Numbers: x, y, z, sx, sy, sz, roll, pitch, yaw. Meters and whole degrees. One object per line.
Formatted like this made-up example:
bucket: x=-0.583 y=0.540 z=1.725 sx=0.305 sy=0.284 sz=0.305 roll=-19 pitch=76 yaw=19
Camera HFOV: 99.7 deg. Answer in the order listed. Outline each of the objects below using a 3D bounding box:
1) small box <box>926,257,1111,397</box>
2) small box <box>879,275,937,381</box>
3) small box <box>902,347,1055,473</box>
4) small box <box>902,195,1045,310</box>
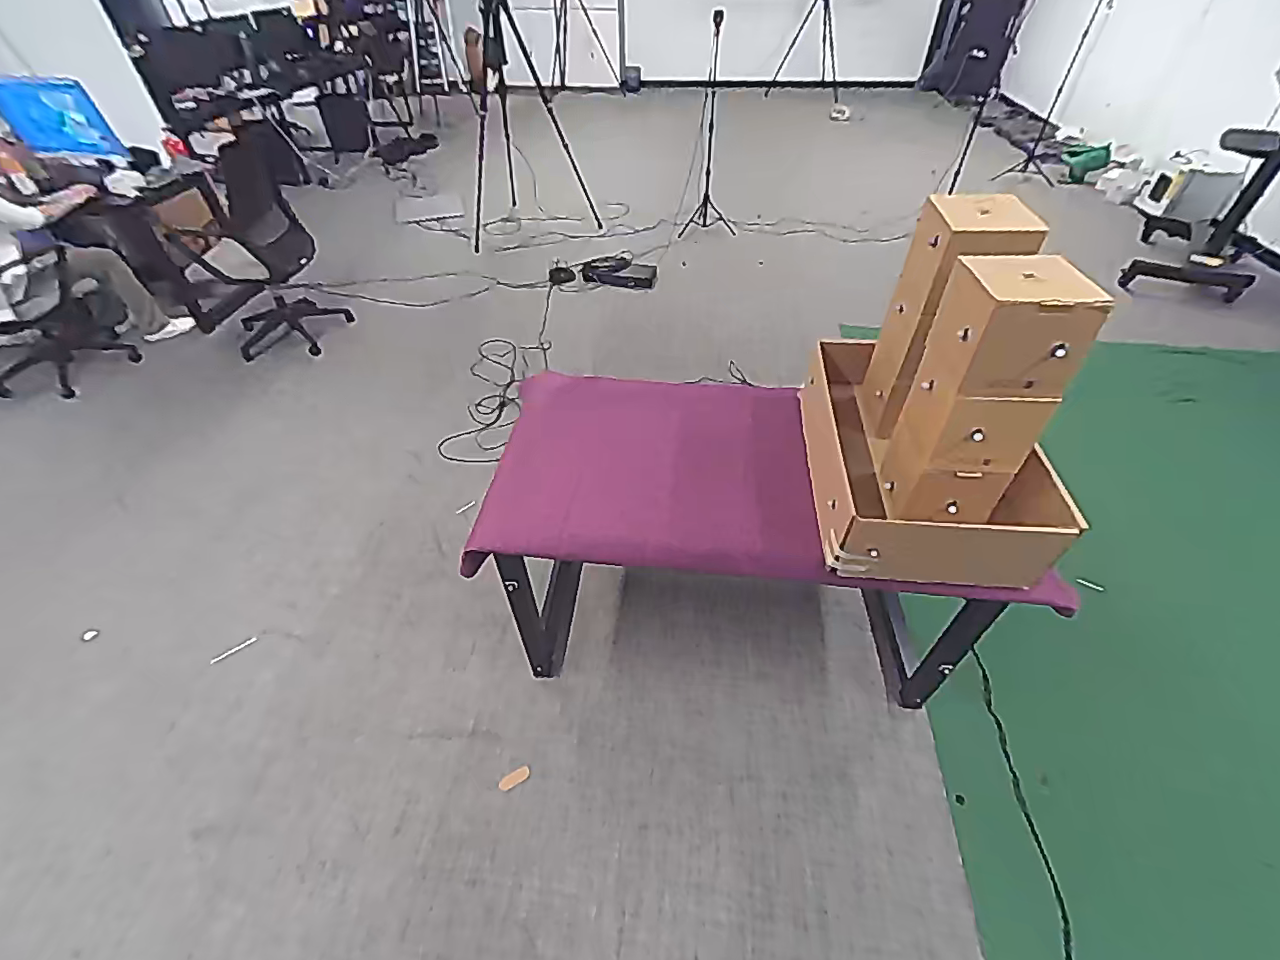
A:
small box: x=0.600 y=-0.250 z=0.887 sx=0.168 sy=0.176 sz=0.179 roll=3 pitch=43 yaw=5
small box: x=0.646 y=-0.332 z=1.191 sx=0.168 sy=0.176 sz=0.179 roll=2 pitch=47 yaw=5
small box: x=0.606 y=-0.129 z=0.997 sx=0.168 sy=0.176 sz=0.179 roll=2 pitch=44 yaw=6
small box: x=0.643 y=-0.443 z=1.069 sx=0.168 sy=0.176 sz=0.179 roll=3 pitch=47 yaw=5
